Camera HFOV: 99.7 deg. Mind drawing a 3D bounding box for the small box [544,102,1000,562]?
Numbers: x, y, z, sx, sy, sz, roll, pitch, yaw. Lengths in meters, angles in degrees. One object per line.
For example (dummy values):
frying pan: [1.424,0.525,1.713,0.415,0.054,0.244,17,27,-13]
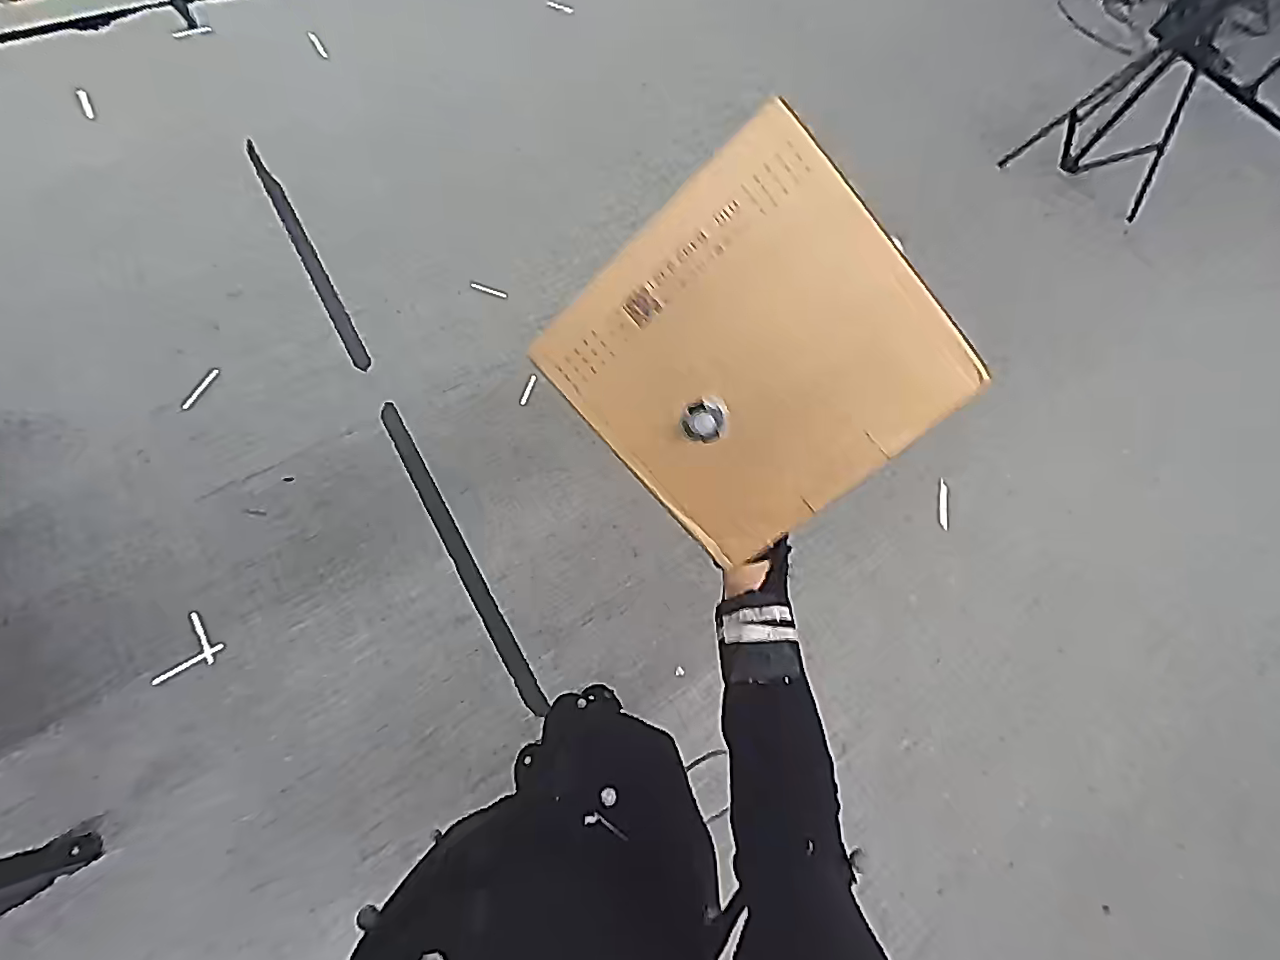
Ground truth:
small box: [0.064,-0.087,0.341,0.168,0.179,0.176,-39,100,15]
